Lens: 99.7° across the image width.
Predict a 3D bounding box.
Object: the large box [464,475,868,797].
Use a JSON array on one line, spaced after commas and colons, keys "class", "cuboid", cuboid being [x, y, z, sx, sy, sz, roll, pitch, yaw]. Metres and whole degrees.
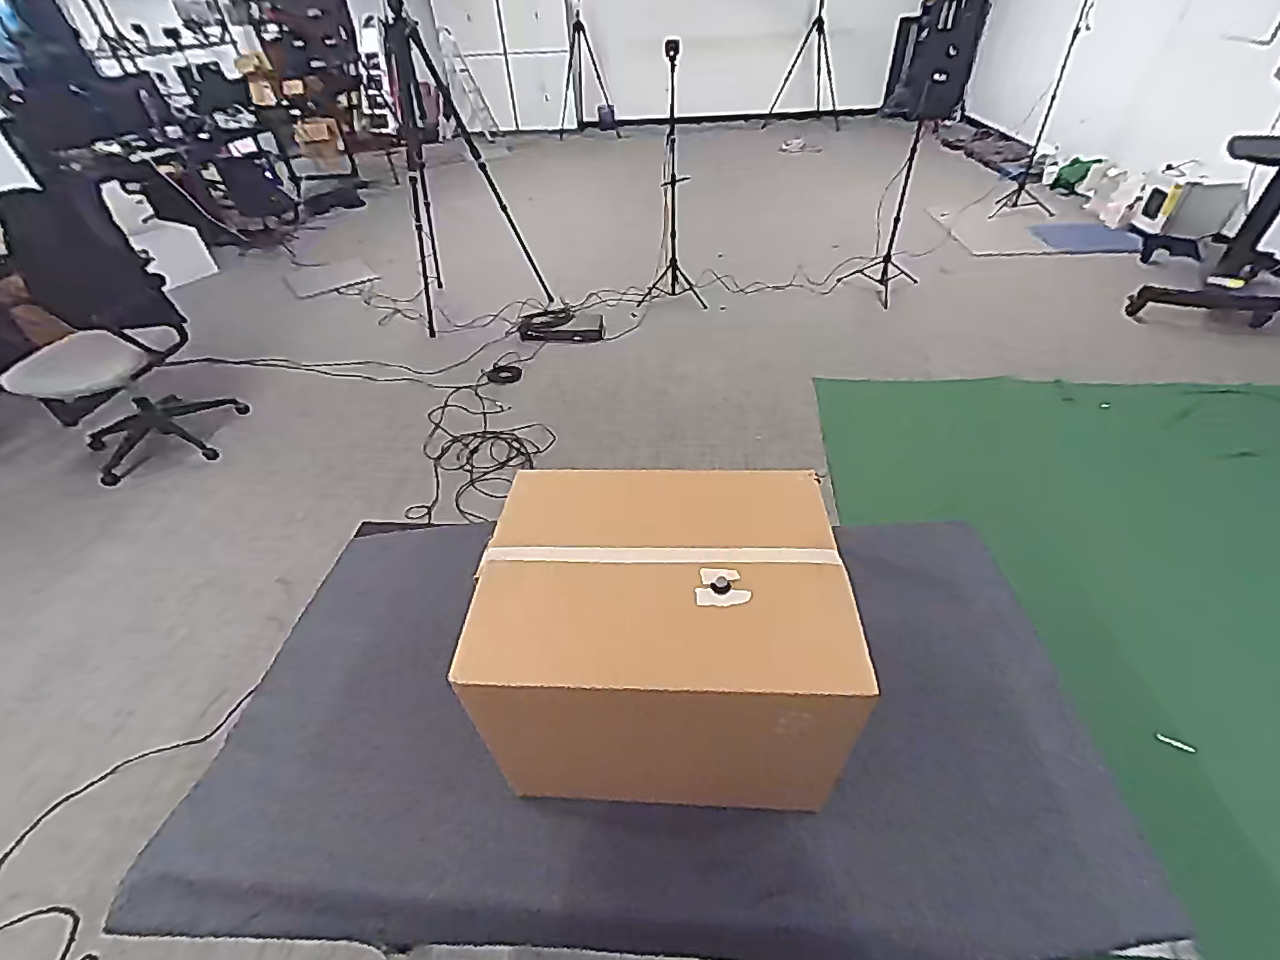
[{"class": "large box", "cuboid": [0.031, 0.207, 0.731, 0.408, 0.320, 0.320, 0, 43, 4]}]
